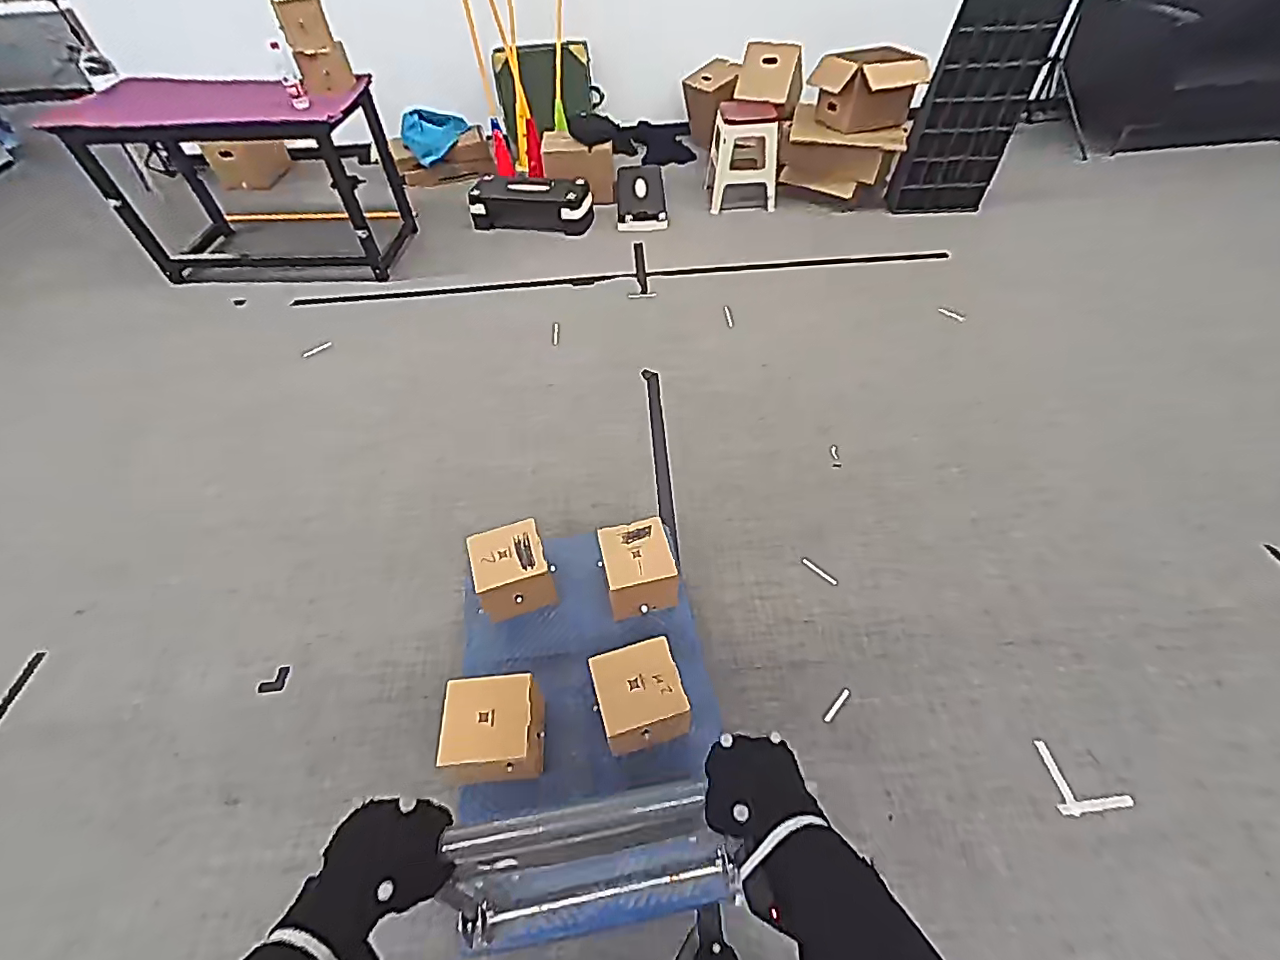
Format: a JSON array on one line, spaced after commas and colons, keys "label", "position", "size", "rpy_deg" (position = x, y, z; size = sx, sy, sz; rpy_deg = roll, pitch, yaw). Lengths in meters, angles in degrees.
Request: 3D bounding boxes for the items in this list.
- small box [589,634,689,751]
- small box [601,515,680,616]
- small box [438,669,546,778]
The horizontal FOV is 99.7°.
[{"label": "small box", "position": [0.000, 0.463, 1.171], "size": [0.179, 0.176, 0.168], "rpy_deg": [-14, 51, -9]}, {"label": "small box", "position": [-0.002, 0.219, 1.372], "size": [0.168, 0.176, 0.179], "rpy_deg": [-12, 52, -6]}, {"label": "small box", "position": [-0.302, 0.517, 1.141], "size": [0.179, 0.176, 0.168], "rpy_deg": [-4, 50, -3]}]
